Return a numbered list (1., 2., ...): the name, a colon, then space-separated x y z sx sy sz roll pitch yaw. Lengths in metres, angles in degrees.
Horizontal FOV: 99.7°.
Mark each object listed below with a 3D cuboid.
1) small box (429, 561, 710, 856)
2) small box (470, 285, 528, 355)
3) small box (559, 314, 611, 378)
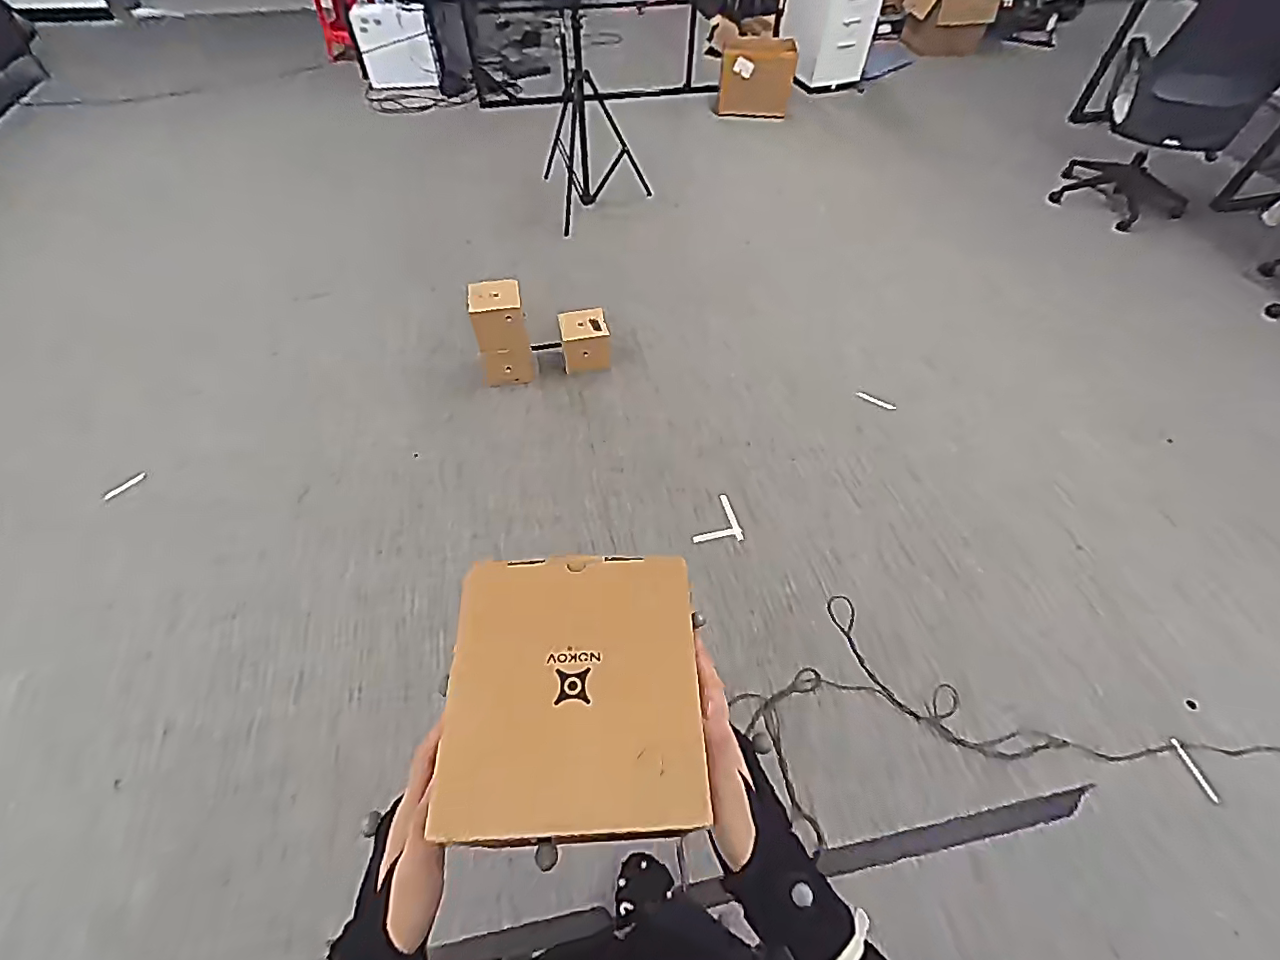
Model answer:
1. small box: -0.043 0.181 0.420 0.168 0.176 0.179 -3 54 -2
2. small box: -0.498 -0.566 1.924 0.179 0.176 0.168 -9 53 -7
3. small box: -0.211 -0.517 2.095 0.179 0.176 0.168 -10 55 -7
